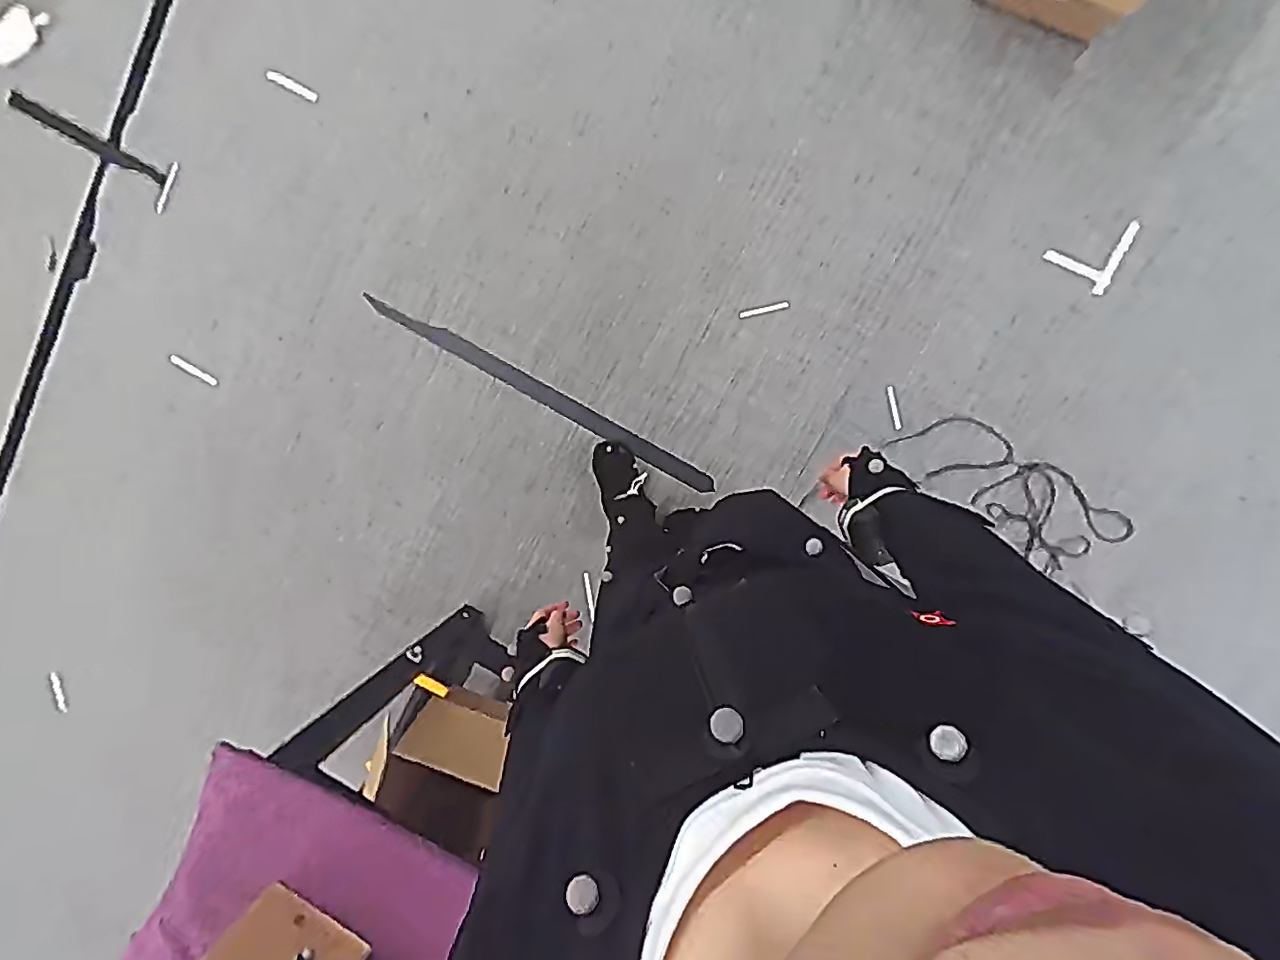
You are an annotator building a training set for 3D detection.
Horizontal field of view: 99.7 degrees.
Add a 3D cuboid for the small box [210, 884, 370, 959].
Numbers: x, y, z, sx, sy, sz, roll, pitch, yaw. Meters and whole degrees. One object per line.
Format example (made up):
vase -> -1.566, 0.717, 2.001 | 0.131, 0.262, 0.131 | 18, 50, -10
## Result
small box -> -0.486, 0.685, 0.690 | 0.168, 0.176, 0.179 | 32, 98, 3
